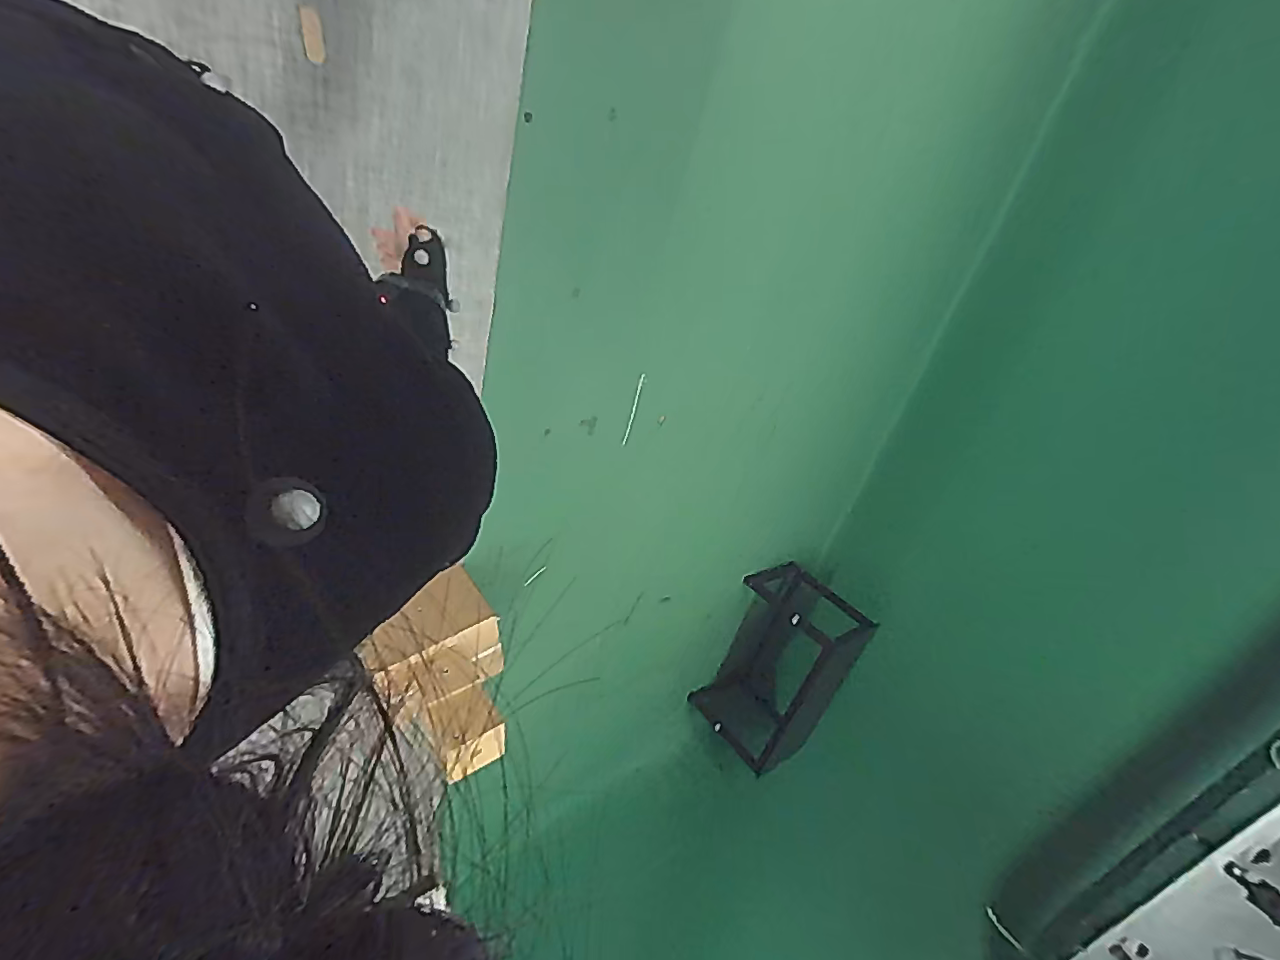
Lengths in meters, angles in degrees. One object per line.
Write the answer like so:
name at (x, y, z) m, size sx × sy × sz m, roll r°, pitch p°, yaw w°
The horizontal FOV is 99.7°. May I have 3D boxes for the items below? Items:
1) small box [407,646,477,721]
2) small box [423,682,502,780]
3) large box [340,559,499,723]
small box at (-0.629, 0.656, 1.720) m, size 0.168 × 0.176 × 0.179 m, roll -17°, pitch 131°, yaw -35°
small box at (-0.533, 0.744, 1.622) m, size 0.179 × 0.176 × 0.168 m, roll -16°, pitch 130°, yaw -36°
large box at (-0.762, 0.550, 1.902) m, size 0.408 × 0.320 × 0.320 m, roll -24°, pitch 136°, yaw -32°
